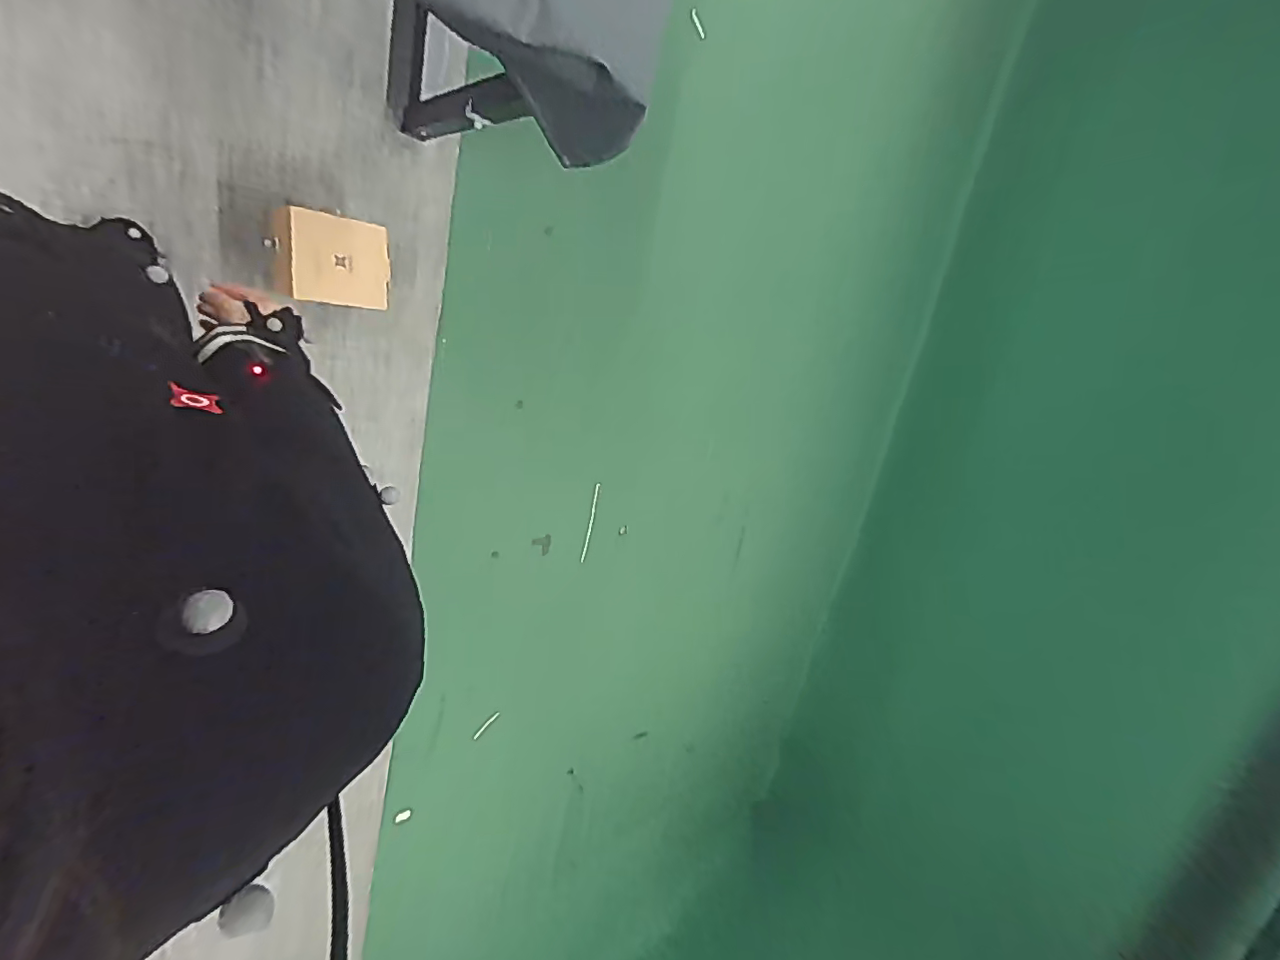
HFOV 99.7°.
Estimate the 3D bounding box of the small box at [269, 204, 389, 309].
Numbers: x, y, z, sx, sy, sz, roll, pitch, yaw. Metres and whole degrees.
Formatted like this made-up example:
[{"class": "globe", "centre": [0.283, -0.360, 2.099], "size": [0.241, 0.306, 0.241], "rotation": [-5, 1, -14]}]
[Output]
[{"class": "small box", "centre": [-0.637, -0.454, 1.107], "size": [0.179, 0.176, 0.168], "rotation": [-6, 112, -44]}]
